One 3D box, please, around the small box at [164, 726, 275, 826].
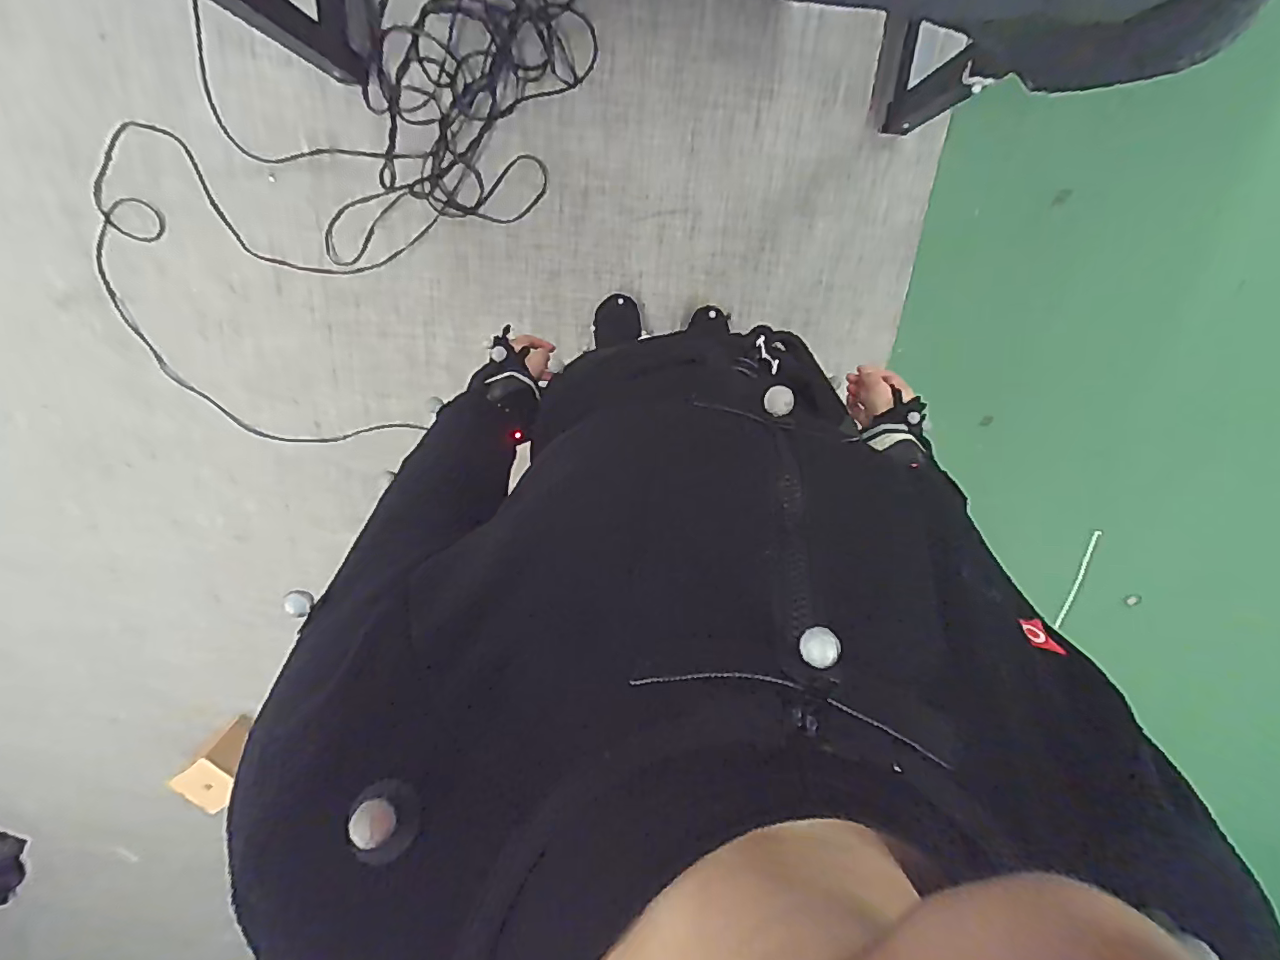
[{"bbox_3d":[-1.270,0.899,1.649,0.179,0.176,0.168,-37,106,12],"label":"small box"}]
